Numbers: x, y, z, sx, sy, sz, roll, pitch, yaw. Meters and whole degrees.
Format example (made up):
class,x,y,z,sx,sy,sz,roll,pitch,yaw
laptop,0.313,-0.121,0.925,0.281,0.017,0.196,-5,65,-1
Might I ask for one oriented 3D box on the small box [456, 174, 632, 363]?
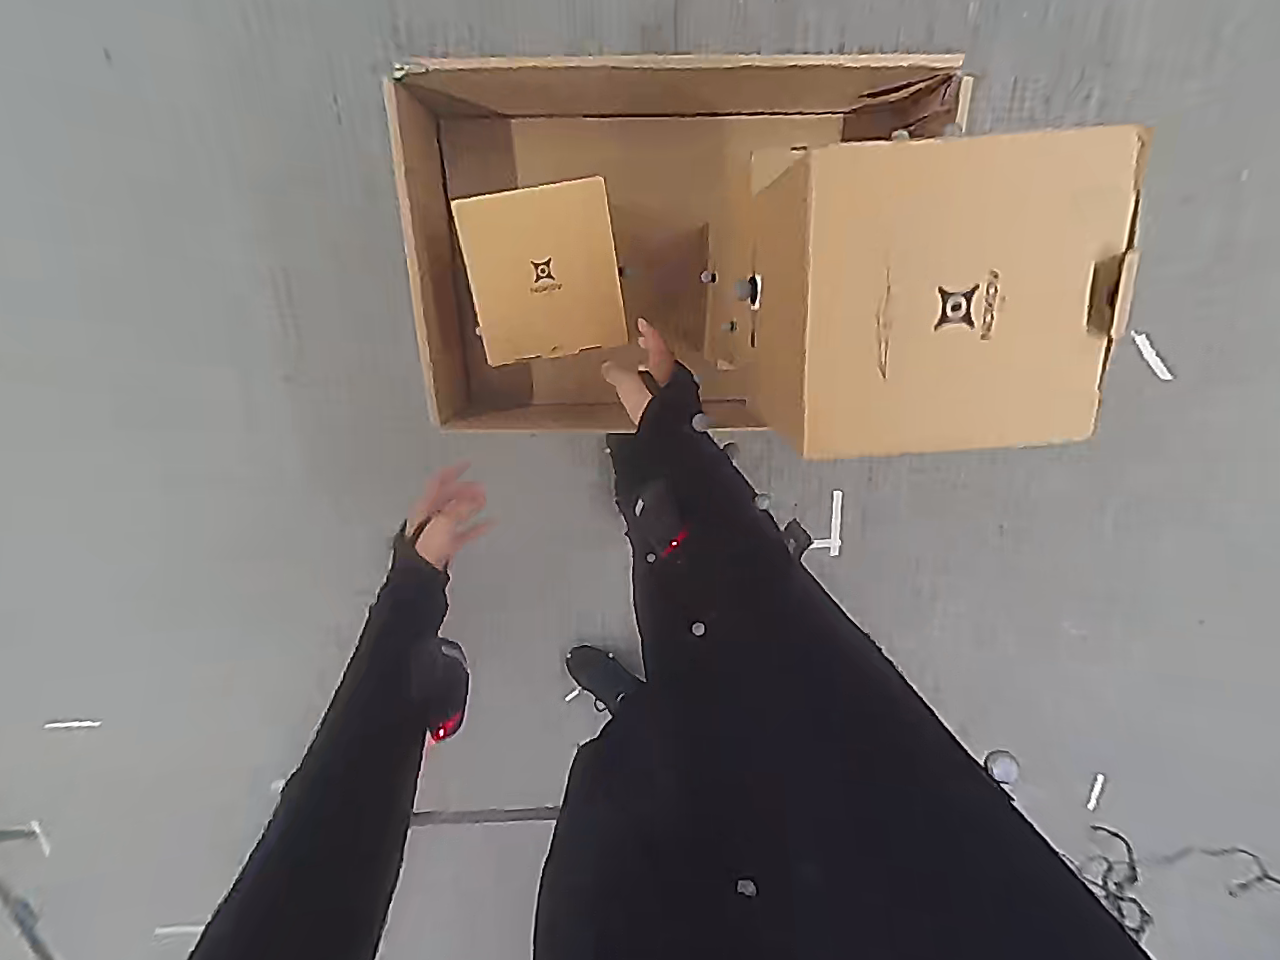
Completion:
class,x,y,z,sx,sy,sz,roll,pitch,yaw
small box,-0.105,-0.251,0.666,0.168,0.176,0.179,-9,109,2

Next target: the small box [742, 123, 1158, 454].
class,x,y,z,sx,sy,sz,roll,pitch,yaw
small box,0.175,-0.123,0.370,0.179,0.176,0.168,-4,108,0
